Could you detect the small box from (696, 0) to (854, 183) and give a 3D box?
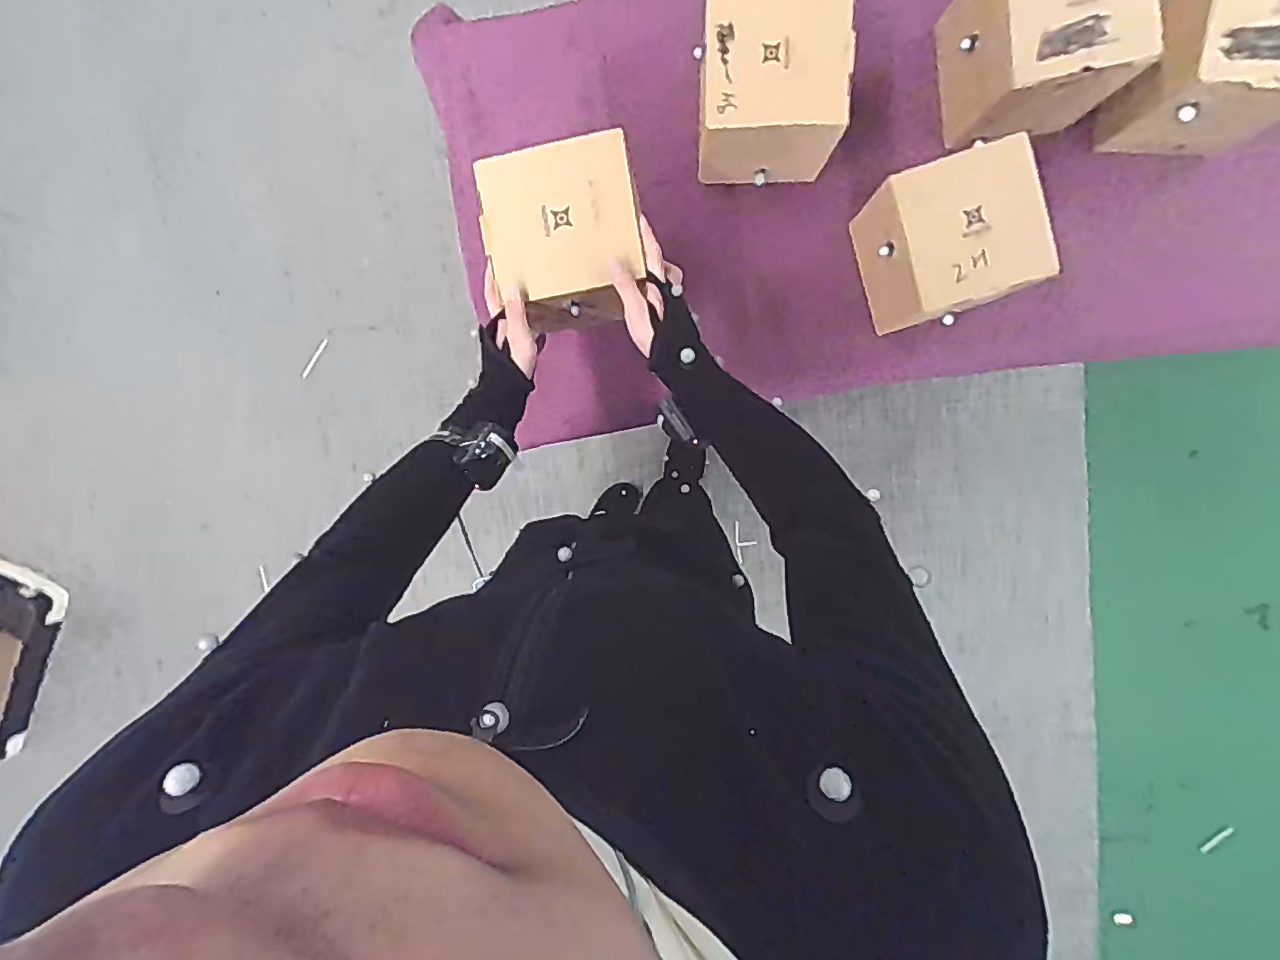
[{"bbox_3d":[0.170,-0.522,0.728,0.179,0.176,0.168,1,96,3],"label":"small box"}]

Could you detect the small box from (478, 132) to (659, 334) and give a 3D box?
[{"bbox_3d":[-0.078,-0.292,0.681,0.179,0.176,0.168,-8,93,6],"label":"small box"}]

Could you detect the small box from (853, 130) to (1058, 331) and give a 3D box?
[{"bbox_3d":[0.411,-0.322,0.736,0.168,0.176,0.179,-16,94,6],"label":"small box"}]
